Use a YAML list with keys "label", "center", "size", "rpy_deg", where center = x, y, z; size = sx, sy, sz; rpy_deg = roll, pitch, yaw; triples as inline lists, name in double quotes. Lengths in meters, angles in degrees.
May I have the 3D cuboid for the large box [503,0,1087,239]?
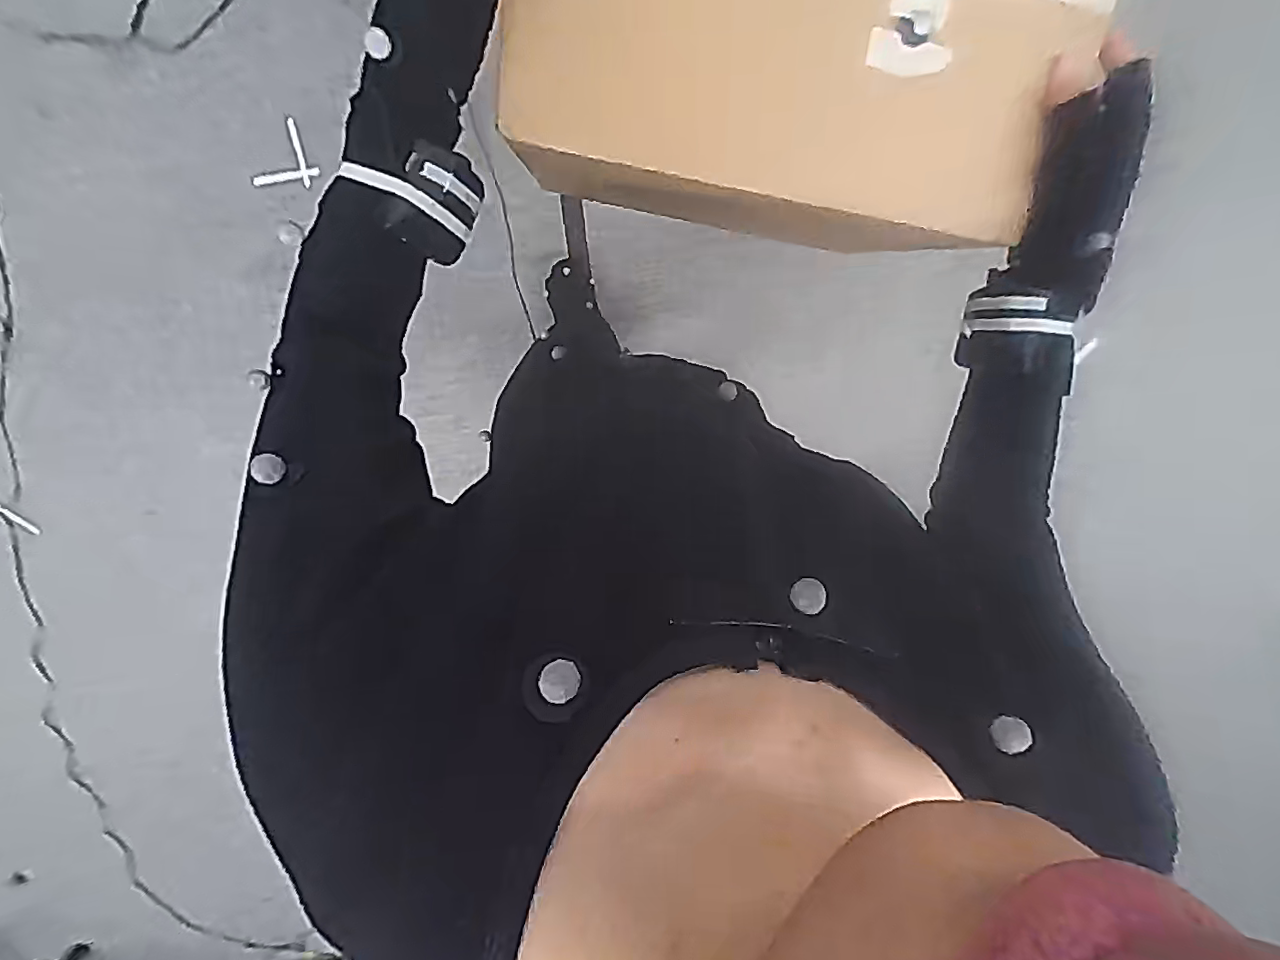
- label: "large box"
  center: [0.103, -0.417, 0.487]
  size: [0.408, 0.320, 0.320]
  rpy_deg: [6, 112, -8]
